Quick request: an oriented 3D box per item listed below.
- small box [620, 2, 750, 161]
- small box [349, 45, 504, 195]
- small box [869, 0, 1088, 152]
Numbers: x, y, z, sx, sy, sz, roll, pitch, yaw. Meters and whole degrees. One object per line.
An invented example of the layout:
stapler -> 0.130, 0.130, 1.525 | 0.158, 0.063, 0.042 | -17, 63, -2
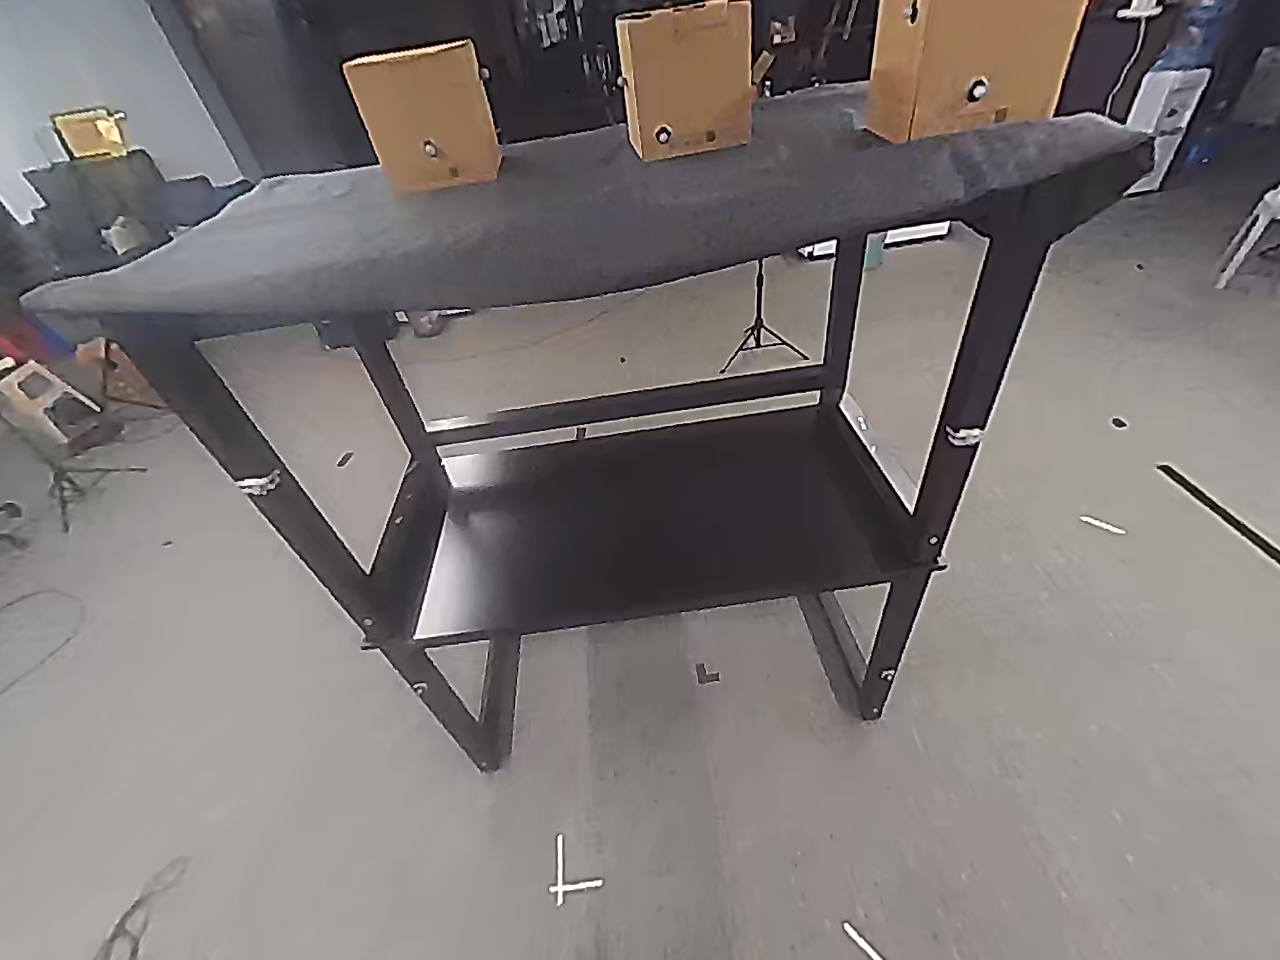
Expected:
small box -> 0.068, -0.600, 0.822 | 0.168, 0.176, 0.179 | -10, 40, -1
small box -> -0.322, -0.570, 0.858 | 0.168, 0.176, 0.179 | -11, 42, -1
small box -> 0.403, -0.525, 0.675 | 0.168, 0.176, 0.179 | -6, 41, 5
